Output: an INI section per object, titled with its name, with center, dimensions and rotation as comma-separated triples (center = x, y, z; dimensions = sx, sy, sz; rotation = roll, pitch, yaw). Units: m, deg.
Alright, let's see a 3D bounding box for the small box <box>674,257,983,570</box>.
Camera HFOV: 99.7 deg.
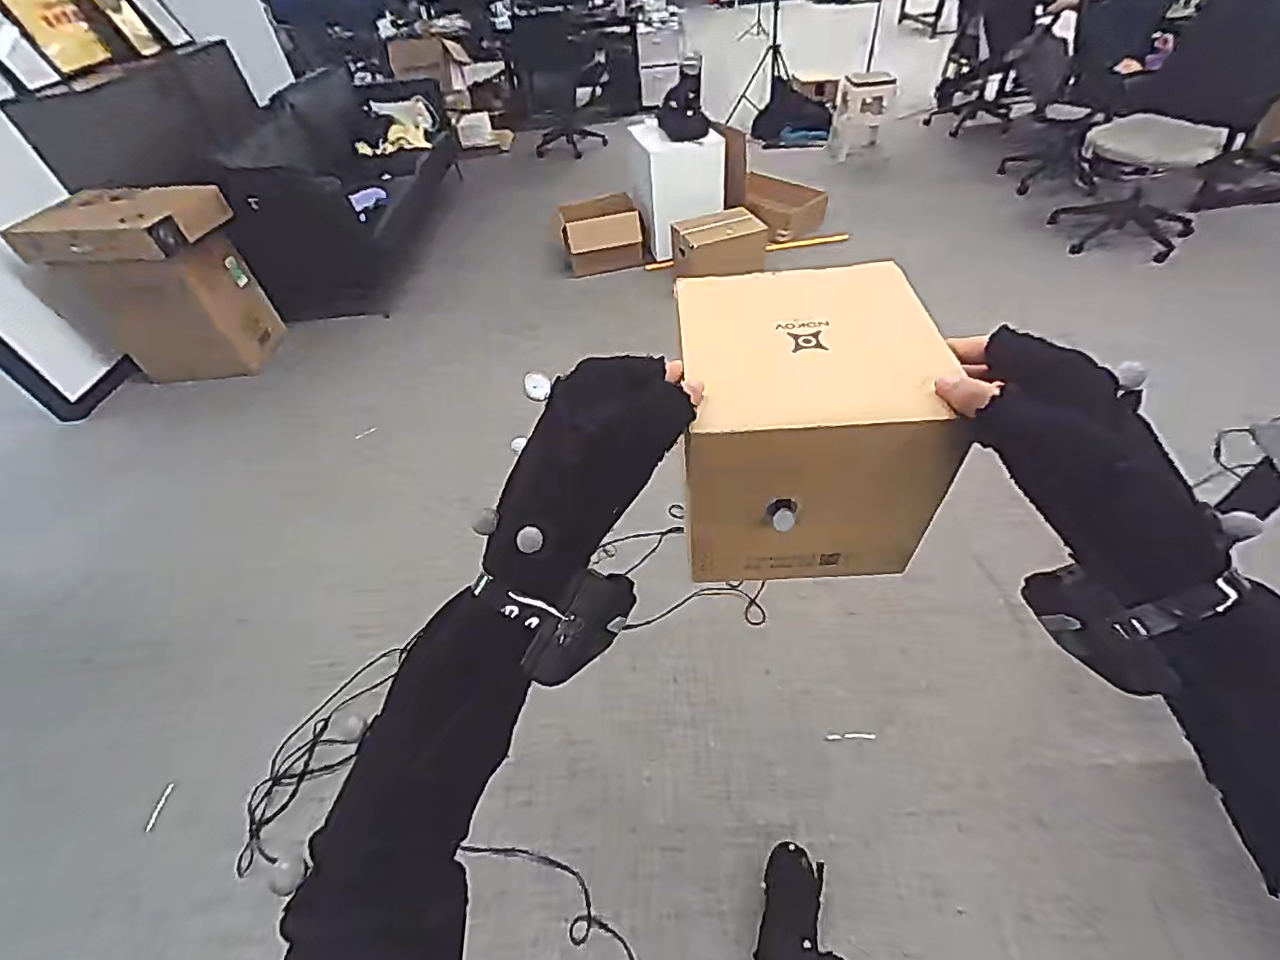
[small box]
center = 0.115, -0.042, 0.412
dimensions = 0.168, 0.176, 0.179
rotation = -4, 48, 4
